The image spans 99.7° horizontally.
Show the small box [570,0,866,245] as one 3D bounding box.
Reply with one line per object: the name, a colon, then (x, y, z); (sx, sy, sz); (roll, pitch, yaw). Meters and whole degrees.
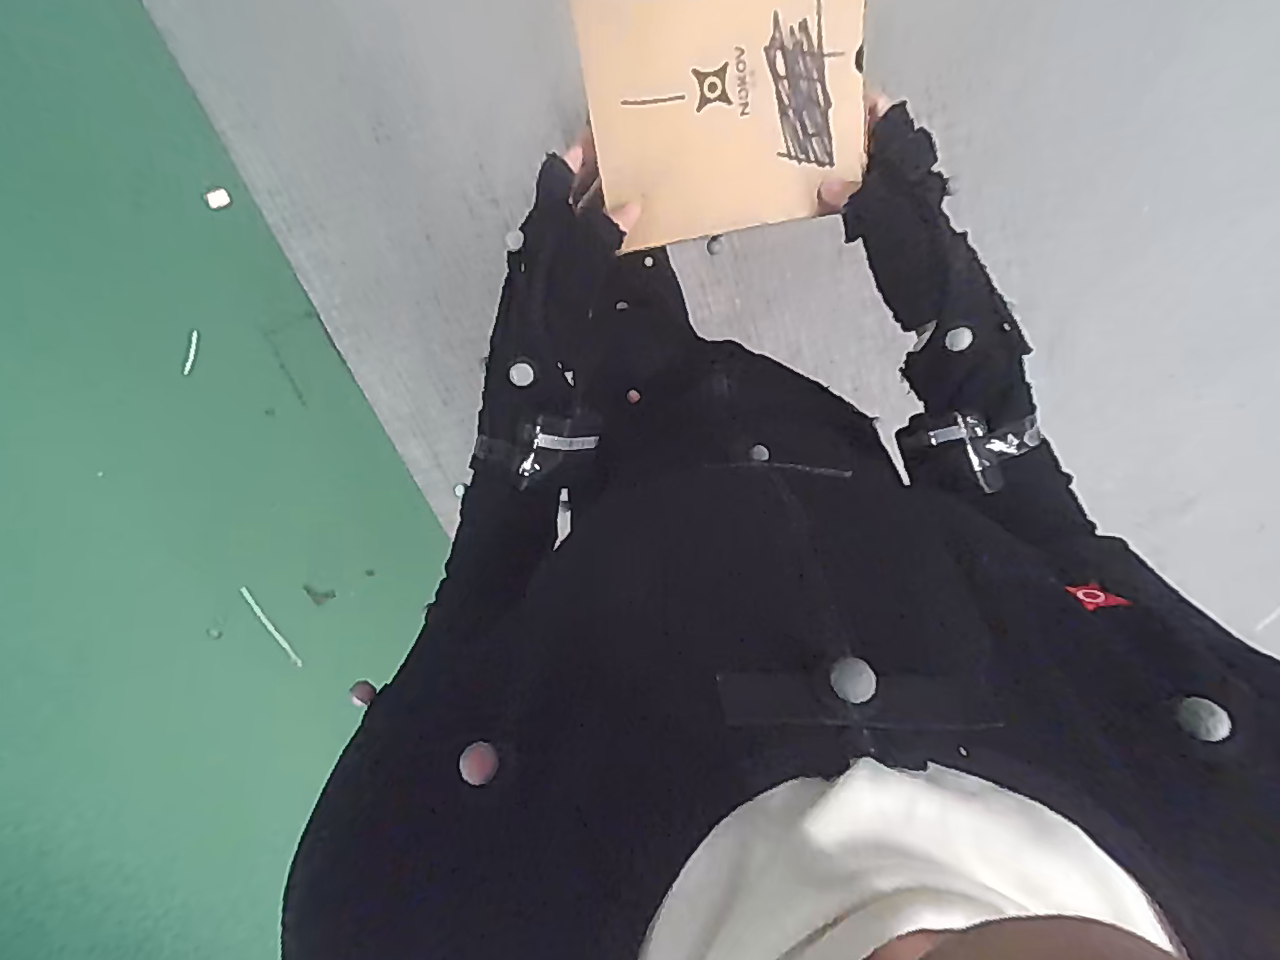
small box: (0.051, -0.282, 0.409); (0.179, 0.176, 0.168); (-9, 114, 4)
